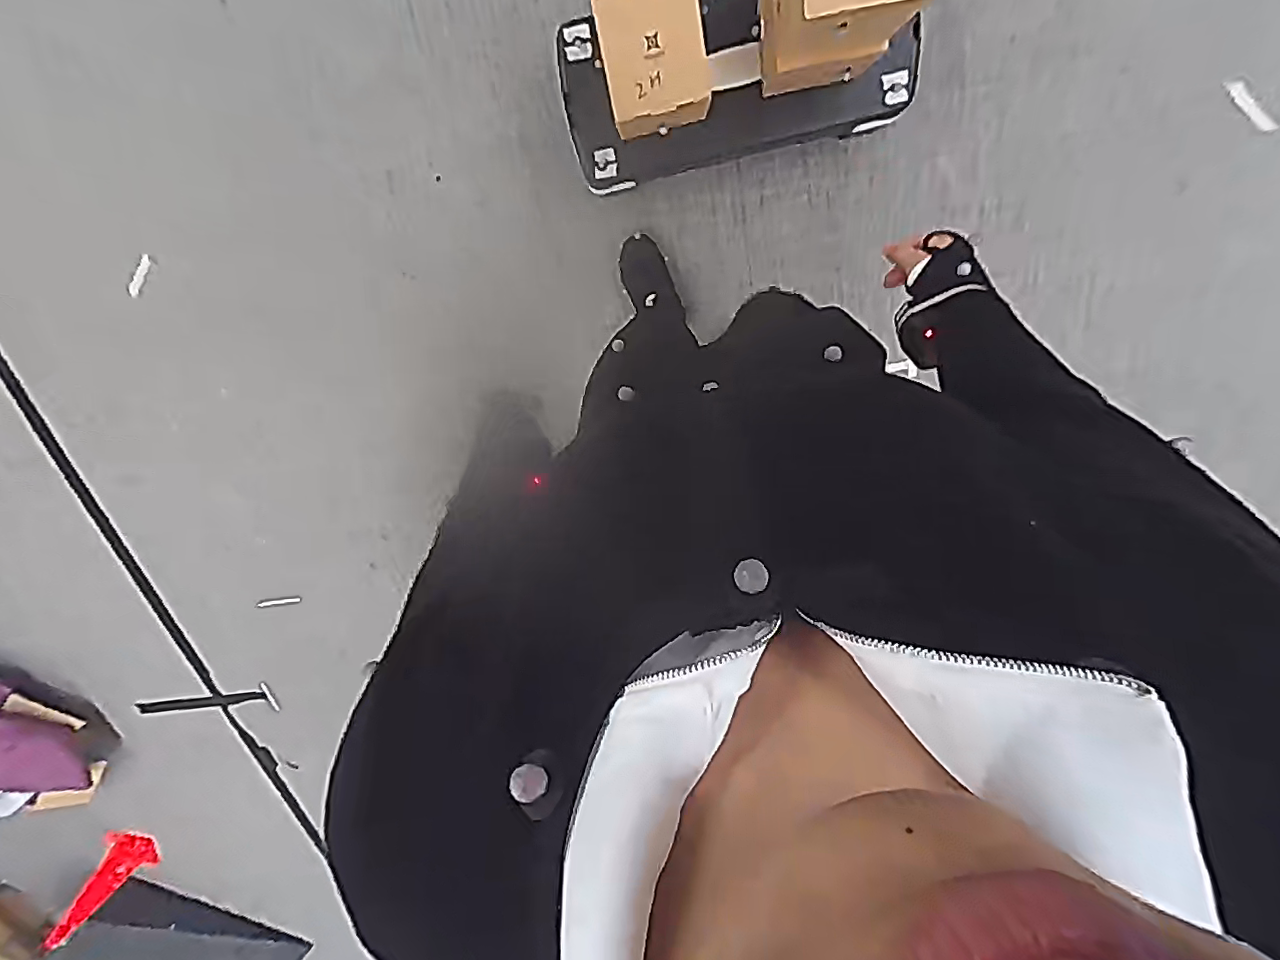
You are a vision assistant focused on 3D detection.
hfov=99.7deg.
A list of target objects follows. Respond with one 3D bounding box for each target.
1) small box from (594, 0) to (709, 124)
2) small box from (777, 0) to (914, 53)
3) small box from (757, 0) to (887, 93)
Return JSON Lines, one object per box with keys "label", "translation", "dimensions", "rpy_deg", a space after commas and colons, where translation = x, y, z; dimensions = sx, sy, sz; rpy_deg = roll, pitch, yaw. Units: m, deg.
{"label": "small box", "translation": [0.019, -0.725, 0.936], "dimensions": [0.168, 0.176, 0.179], "rpy_deg": [-10, 113, 7]}
{"label": "small box", "translation": [0.287, -0.727, 0.749], "dimensions": [0.179, 0.176, 0.168], "rpy_deg": [-7, 113, 6]}
{"label": "small box", "translation": [0.293, -0.775, 0.906], "dimensions": [0.179, 0.176, 0.168], "rpy_deg": [-10, 112, 6]}
